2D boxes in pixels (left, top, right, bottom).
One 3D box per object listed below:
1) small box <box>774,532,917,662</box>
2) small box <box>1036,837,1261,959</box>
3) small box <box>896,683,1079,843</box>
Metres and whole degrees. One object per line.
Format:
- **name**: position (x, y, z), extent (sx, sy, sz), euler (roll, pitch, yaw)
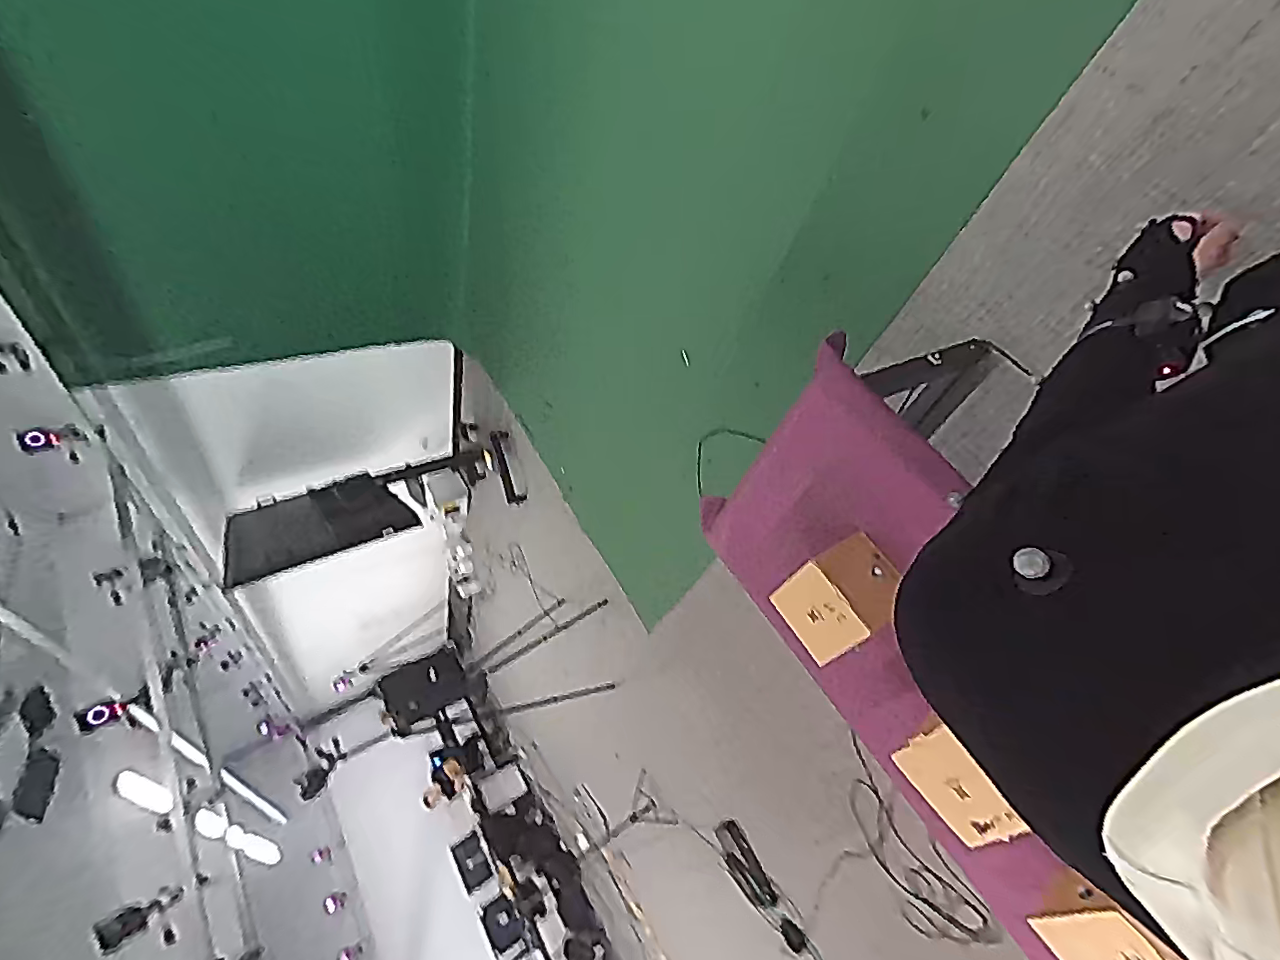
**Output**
- **small box**: position (0.414, 0.234, 1.094), extent (0.168, 0.176, 0.179), euler (54, 144, 23)
- **small box**: position (0.760, 0.676, 0.812), extent (0.168, 0.176, 0.179), euler (51, 144, 28)
- **small box**: position (0.603, 0.483, 0.946), extent (0.179, 0.176, 0.168), euler (51, 143, 28)
